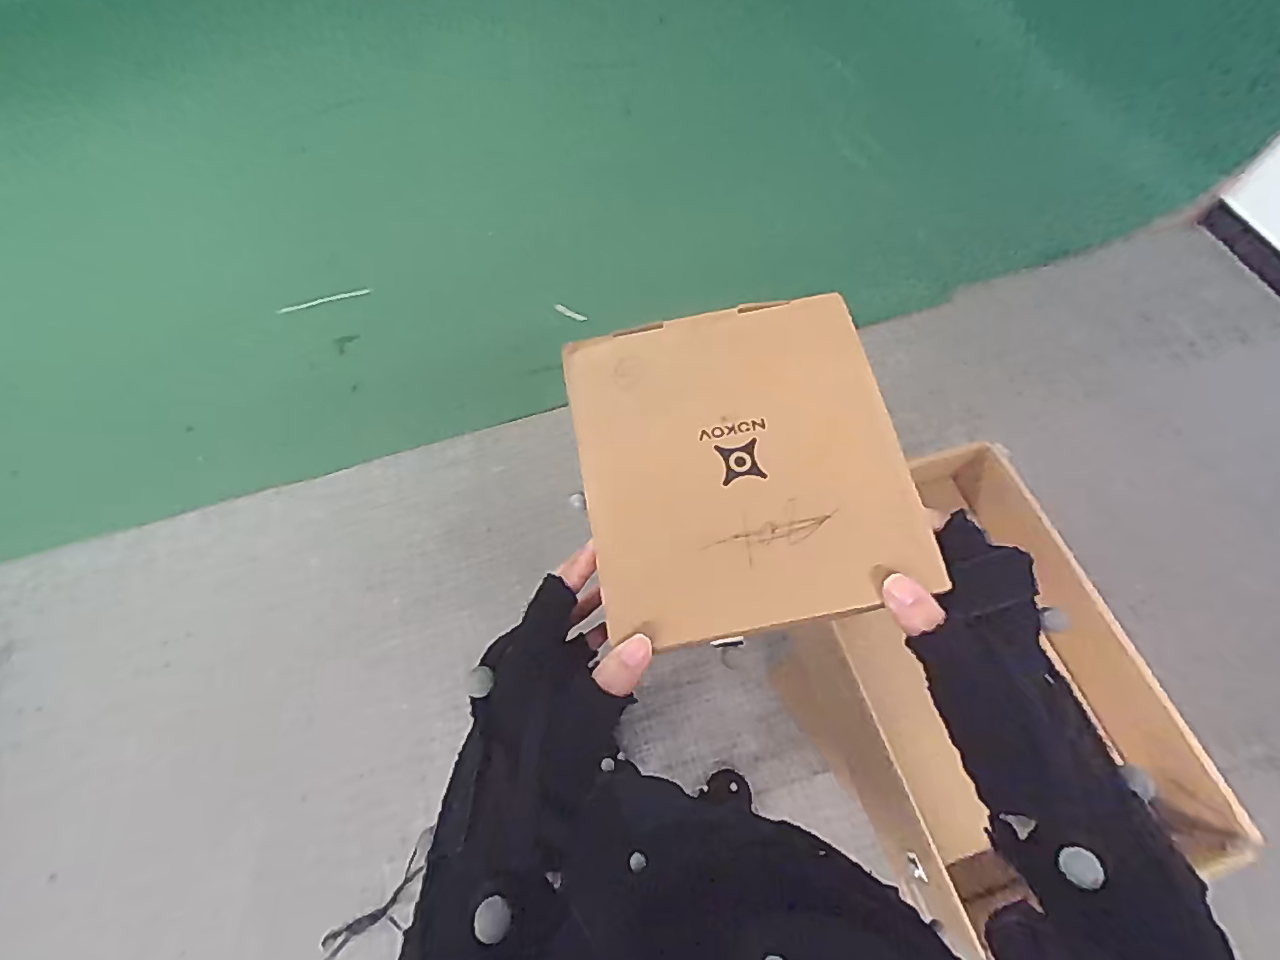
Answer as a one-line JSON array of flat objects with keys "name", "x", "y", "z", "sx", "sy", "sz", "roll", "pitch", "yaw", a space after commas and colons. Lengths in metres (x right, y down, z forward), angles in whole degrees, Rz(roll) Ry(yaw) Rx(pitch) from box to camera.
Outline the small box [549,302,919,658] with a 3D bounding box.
[{"name": "small box", "x": 0.044, "y": 0.015, "z": 0.365, "sx": 0.168, "sy": 0.176, "sz": 0.179, "roll": -12, "pitch": 71, "yaw": -1}]
